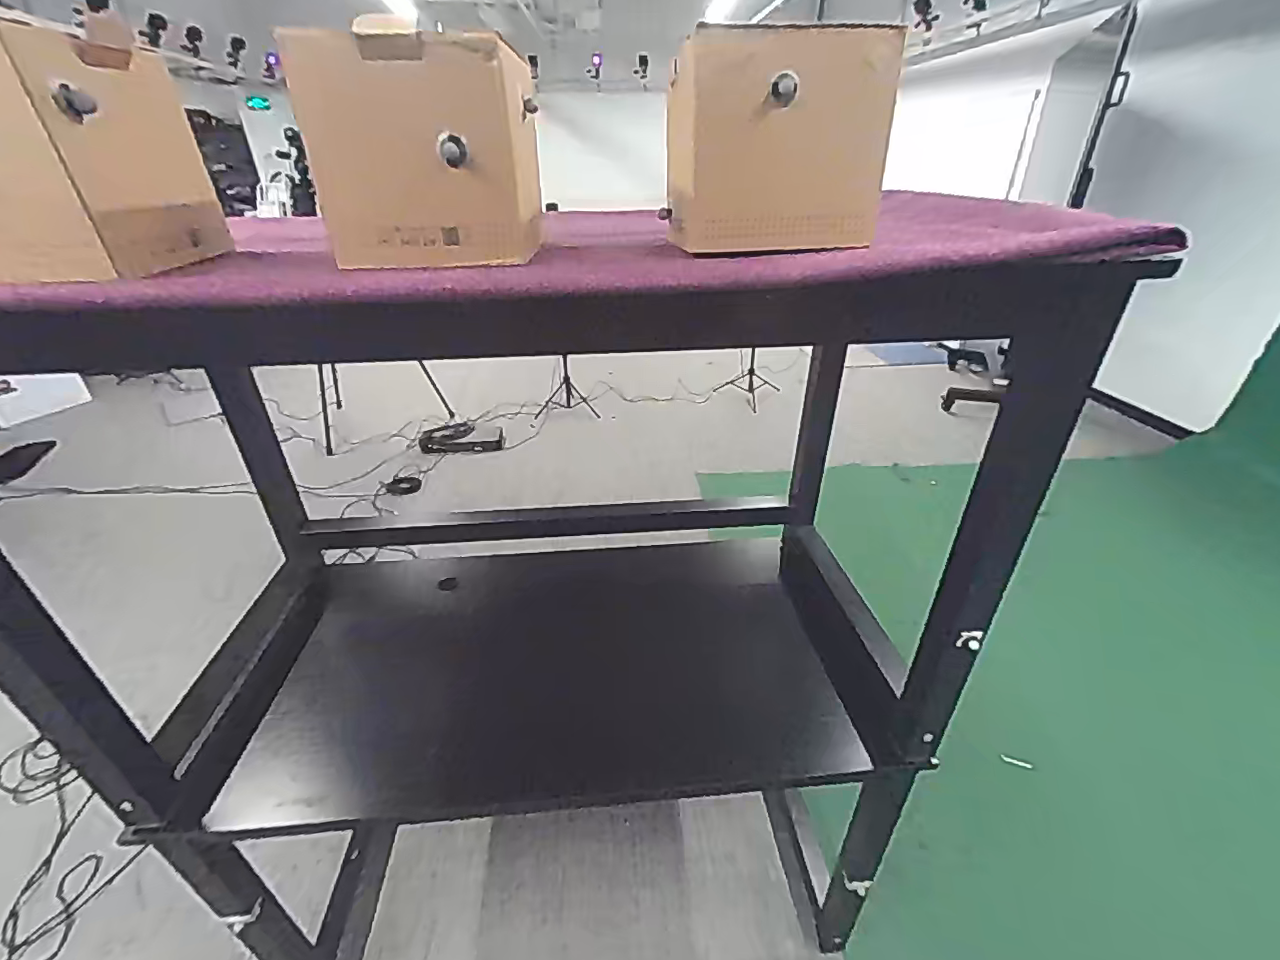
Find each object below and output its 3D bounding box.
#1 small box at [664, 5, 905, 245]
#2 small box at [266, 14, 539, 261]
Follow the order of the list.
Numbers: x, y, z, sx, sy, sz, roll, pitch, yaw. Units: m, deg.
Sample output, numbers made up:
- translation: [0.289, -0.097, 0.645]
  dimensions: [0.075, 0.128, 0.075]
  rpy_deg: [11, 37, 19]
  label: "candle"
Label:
- translation: [0.121, -0.326, 0.526]
  dimensions: [0.179, 0.176, 0.168]
  rpy_deg: [-4, 28, -4]
  label: "small box"
- translation: [-0.189, -0.302, 0.499]
  dimensions: [0.168, 0.176, 0.179]
  rpy_deg: [-1, 30, -3]
  label: "small box"
